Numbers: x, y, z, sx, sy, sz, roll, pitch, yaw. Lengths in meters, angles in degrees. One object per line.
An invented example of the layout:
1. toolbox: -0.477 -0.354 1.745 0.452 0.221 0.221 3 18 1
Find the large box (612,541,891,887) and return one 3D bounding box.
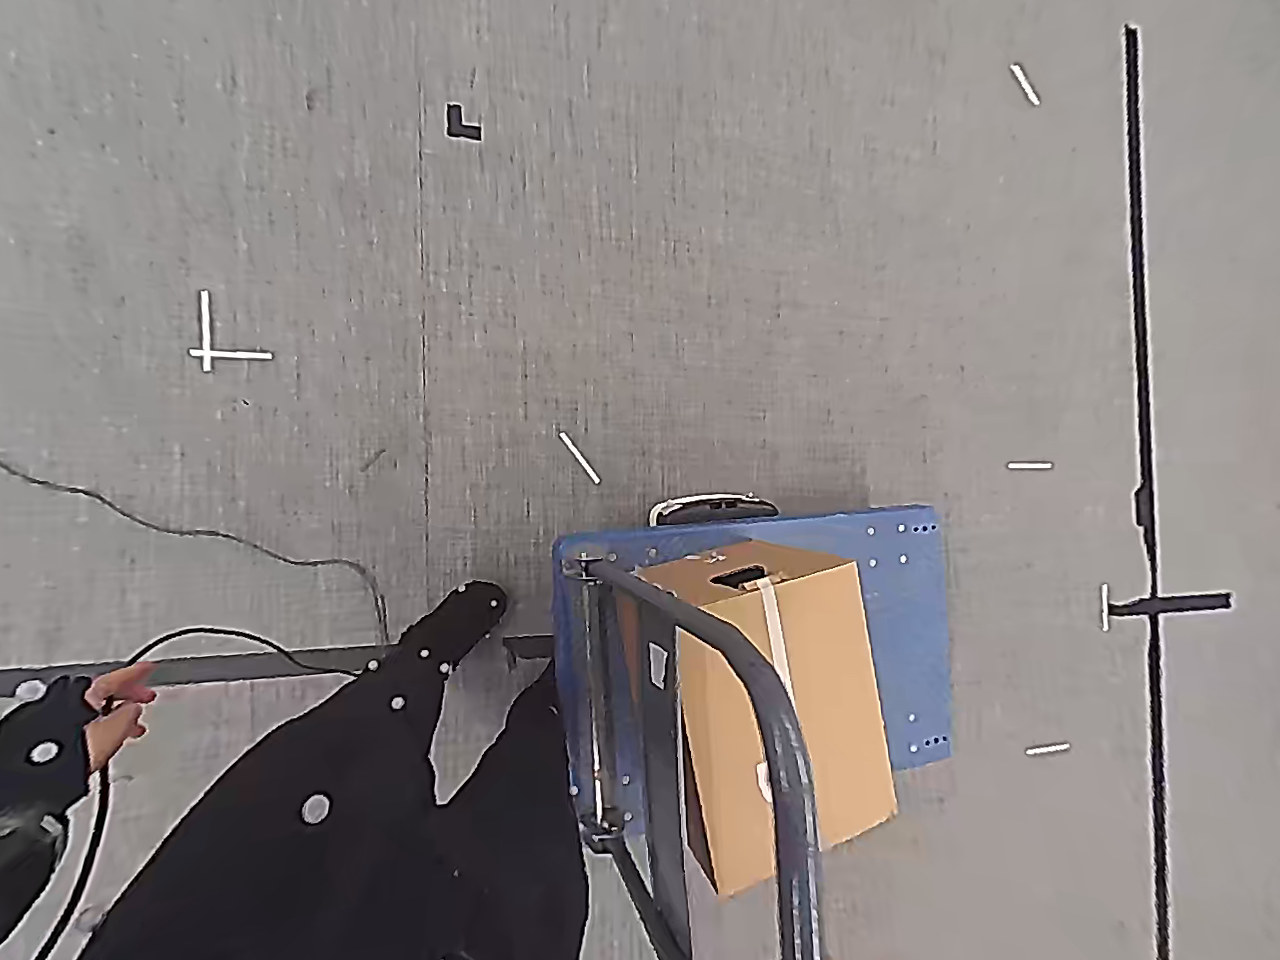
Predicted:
1. large box: 0.167 0.346 0.927 0.320 0.320 0.408 -12 93 -16
